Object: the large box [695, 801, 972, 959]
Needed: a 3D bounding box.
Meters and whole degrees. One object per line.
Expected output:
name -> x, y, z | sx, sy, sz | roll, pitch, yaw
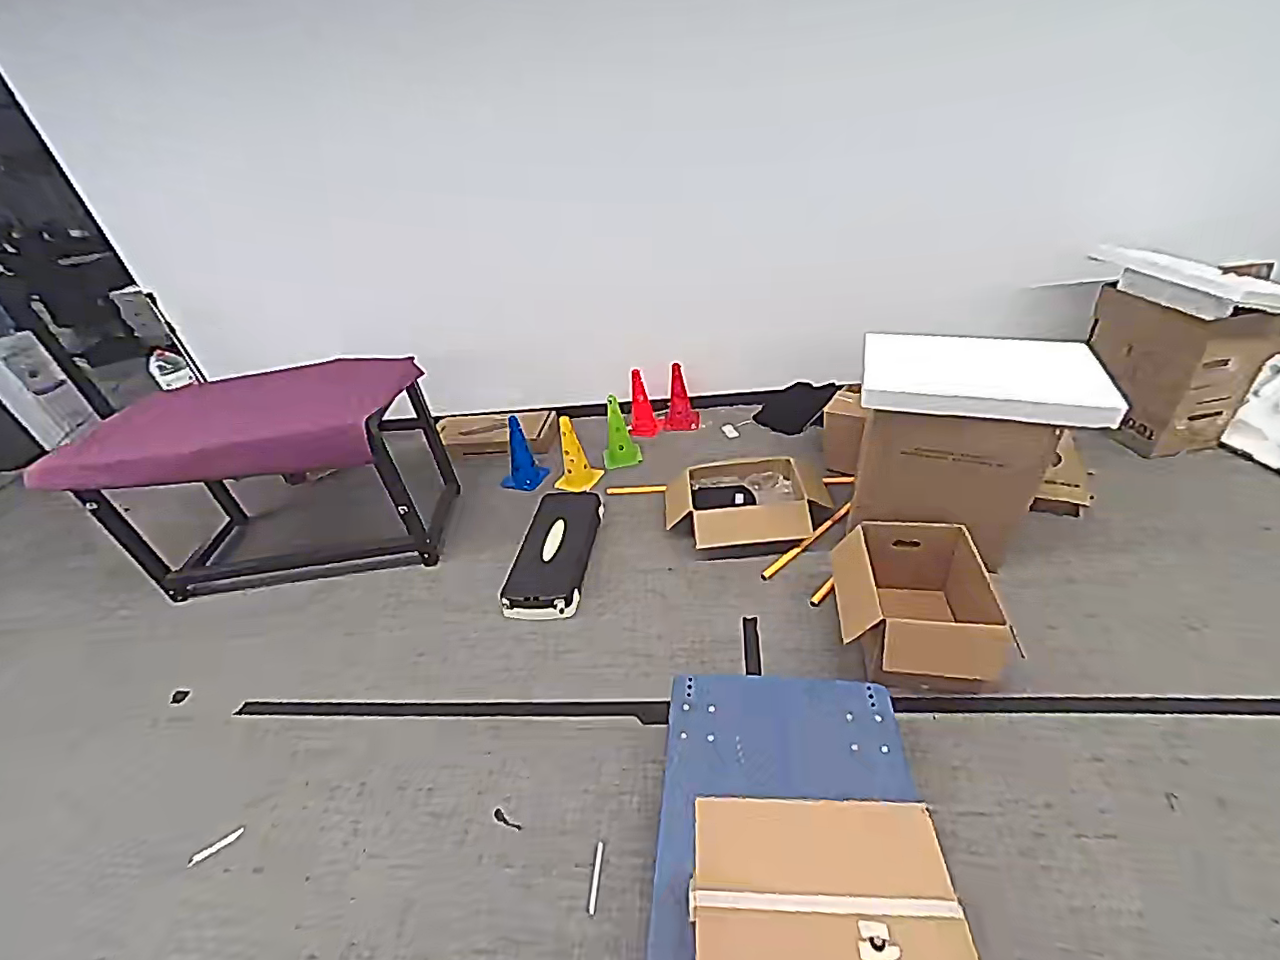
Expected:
large box -> 0.305, 0.796, 0.939 | 0.408, 0.320, 0.320 | -2, 36, 7
